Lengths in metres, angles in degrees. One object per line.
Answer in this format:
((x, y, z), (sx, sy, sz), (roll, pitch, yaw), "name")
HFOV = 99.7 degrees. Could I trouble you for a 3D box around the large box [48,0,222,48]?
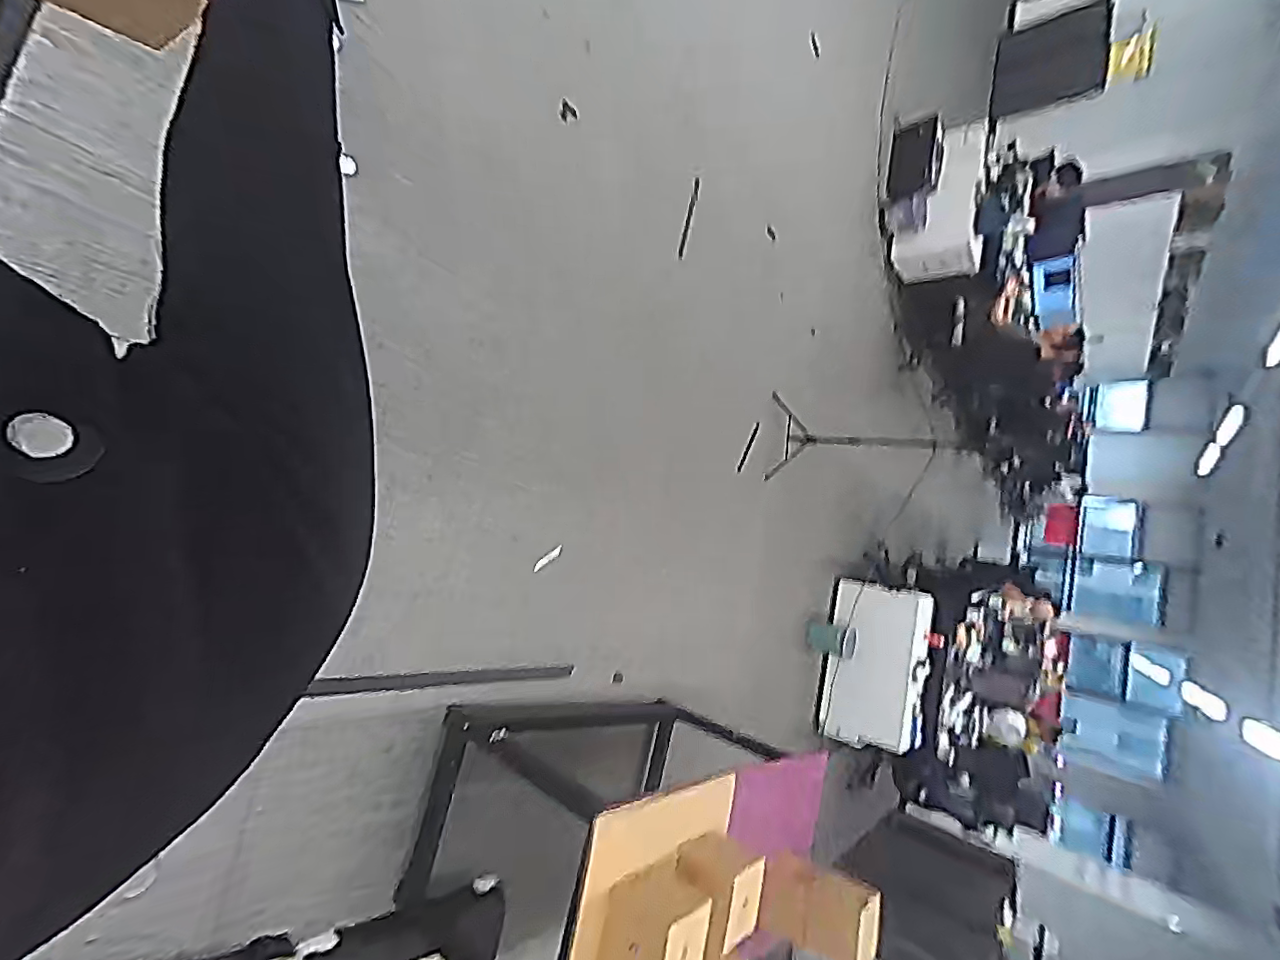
((-0.501, -0.560, 0.316), (0.408, 0.320, 0.320), (-1, 109, -51), "large box")
